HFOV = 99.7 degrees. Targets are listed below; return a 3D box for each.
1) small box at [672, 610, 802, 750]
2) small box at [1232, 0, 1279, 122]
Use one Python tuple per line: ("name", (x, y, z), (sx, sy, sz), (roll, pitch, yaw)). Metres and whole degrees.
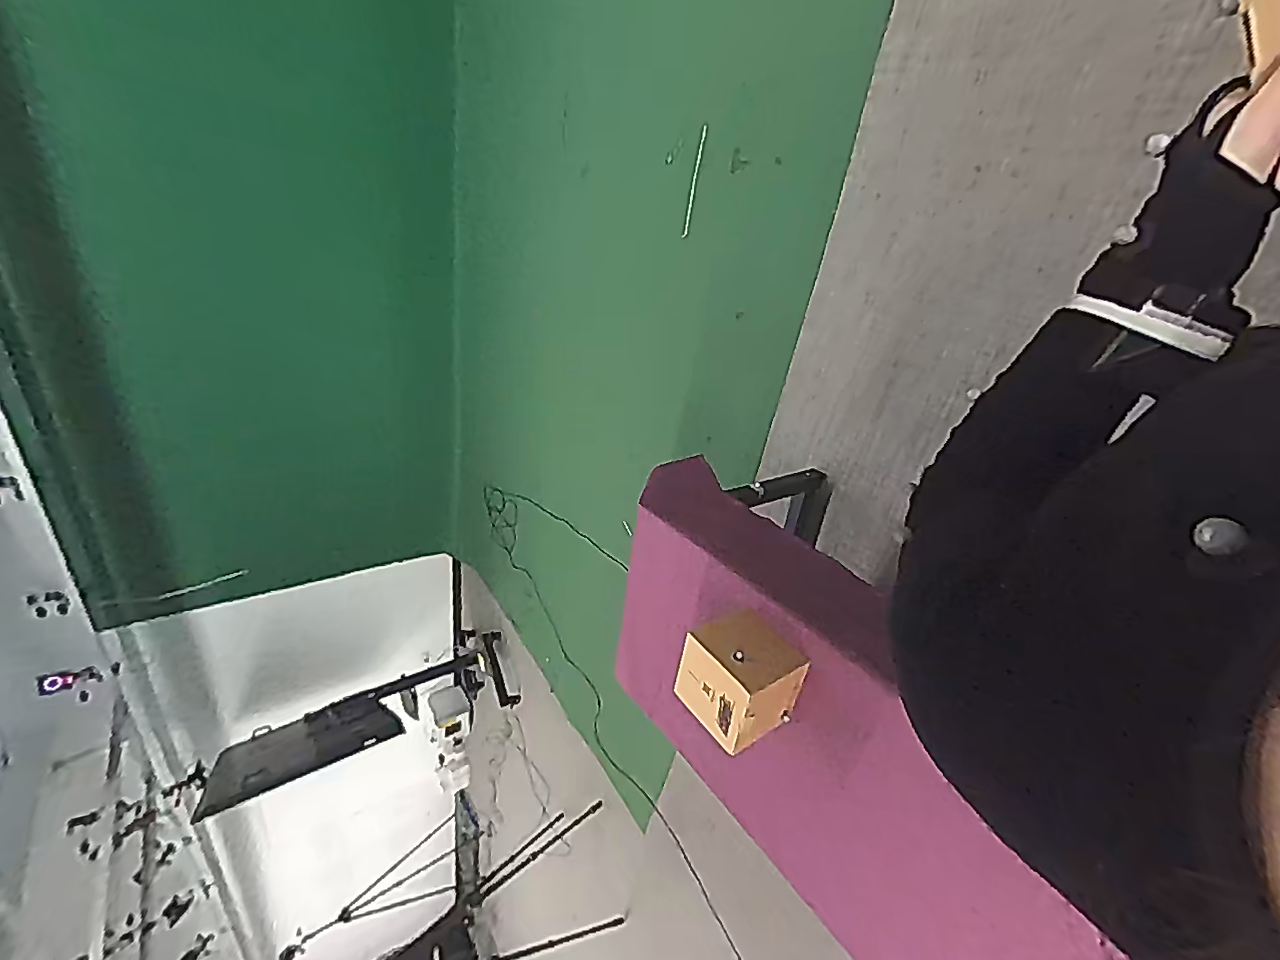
("small box", (0.192, 0.386, 1.082), (0.179, 0.176, 0.168), (38, 128, 43))
("small box", (0.437, -0.317, 0.275), (0.179, 0.176, 0.168), (-3, 110, 54))
